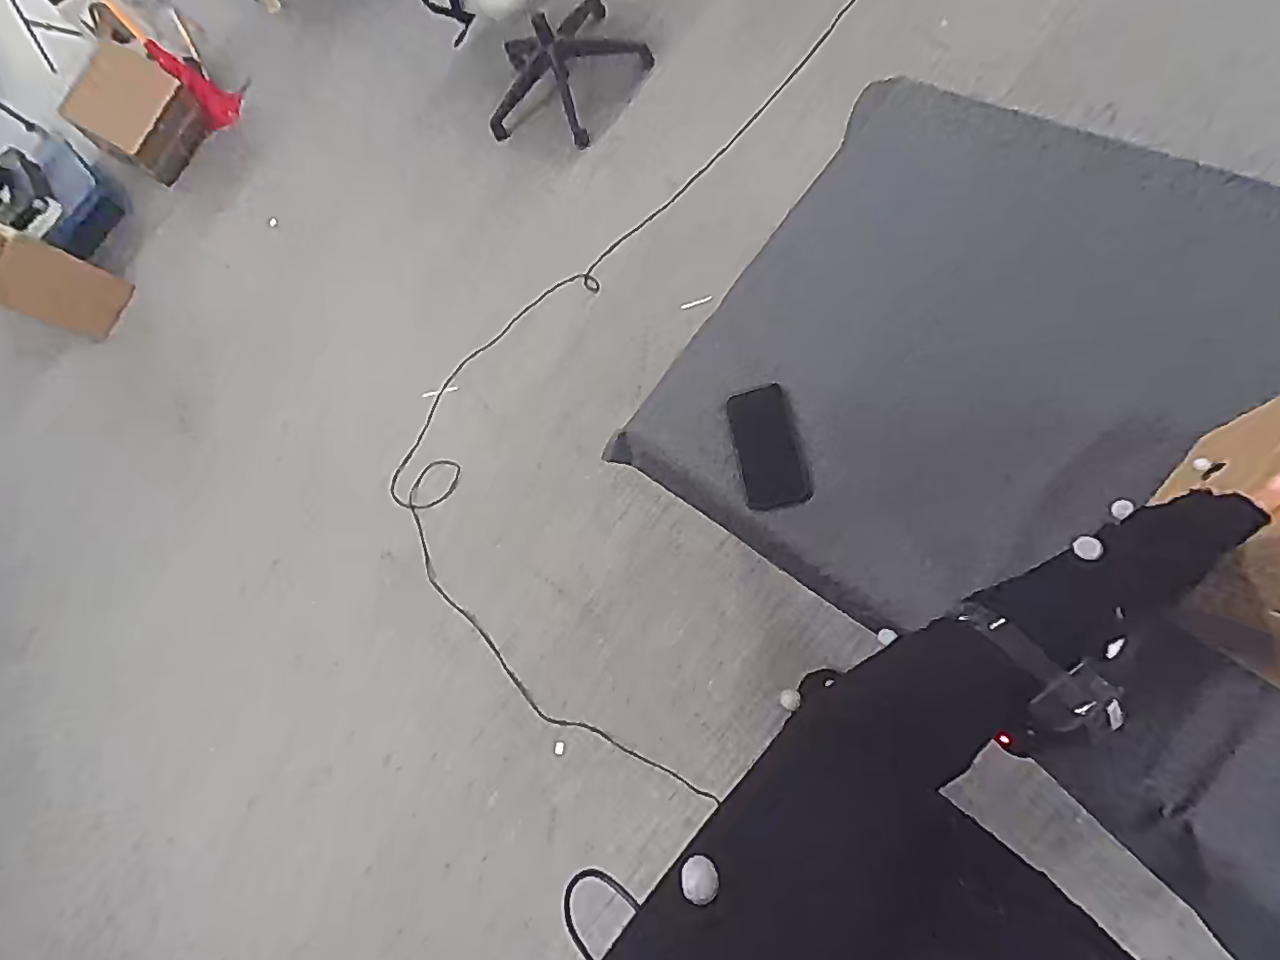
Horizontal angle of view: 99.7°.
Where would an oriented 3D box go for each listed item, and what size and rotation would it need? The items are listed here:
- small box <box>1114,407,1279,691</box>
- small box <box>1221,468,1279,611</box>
[{"bbox_3d":[0.528,0.056,0.420,0.168,0.176,0.179,40,88,25],"label":"small box"},{"bbox_3d":[0.475,0.016,0.272,0.168,0.176,0.179,38,90,26],"label":"small box"}]
